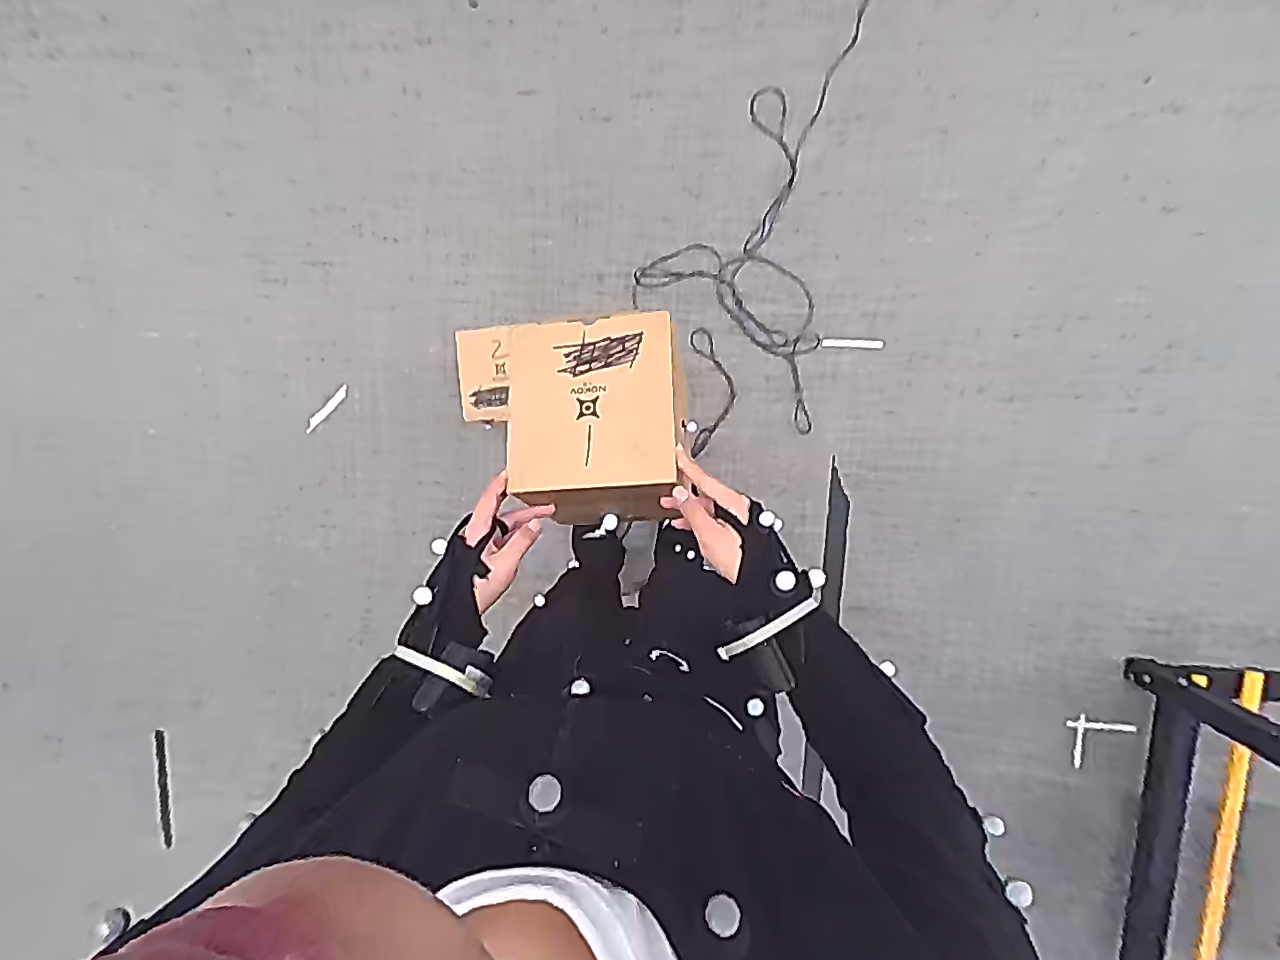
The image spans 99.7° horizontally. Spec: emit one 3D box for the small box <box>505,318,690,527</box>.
[{"bbox_3d":[-0.034,-0.052,0.595,0.168,0.176,0.179,-3,74,9],"label":"small box"}]
